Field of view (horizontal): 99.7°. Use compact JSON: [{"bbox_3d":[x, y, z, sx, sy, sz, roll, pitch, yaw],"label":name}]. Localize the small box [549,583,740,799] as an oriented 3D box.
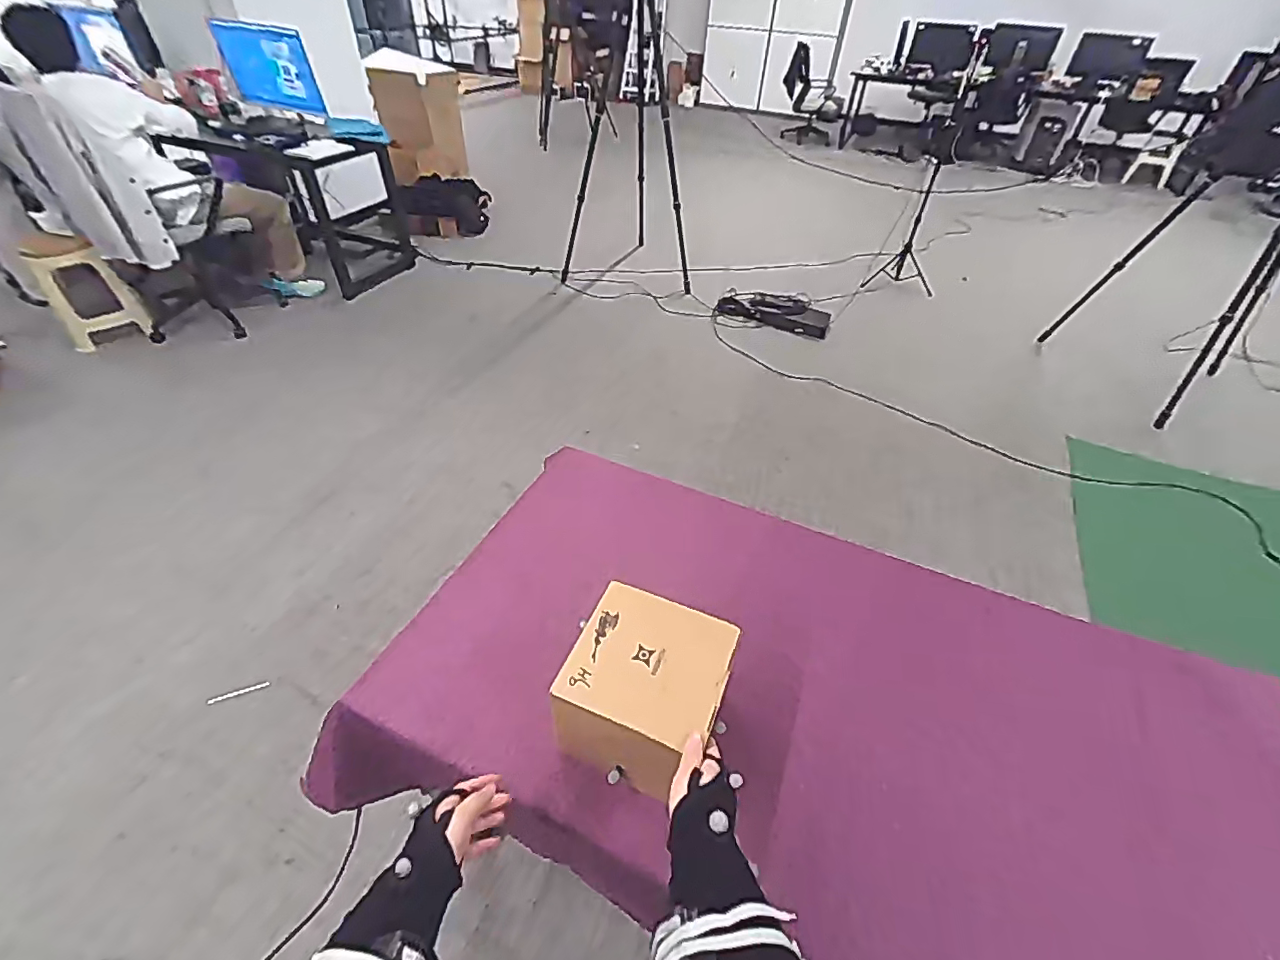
[{"bbox_3d":[0.005,0.265,0.673,0.179,0.176,0.168,19,45,14],"label":"small box"}]
